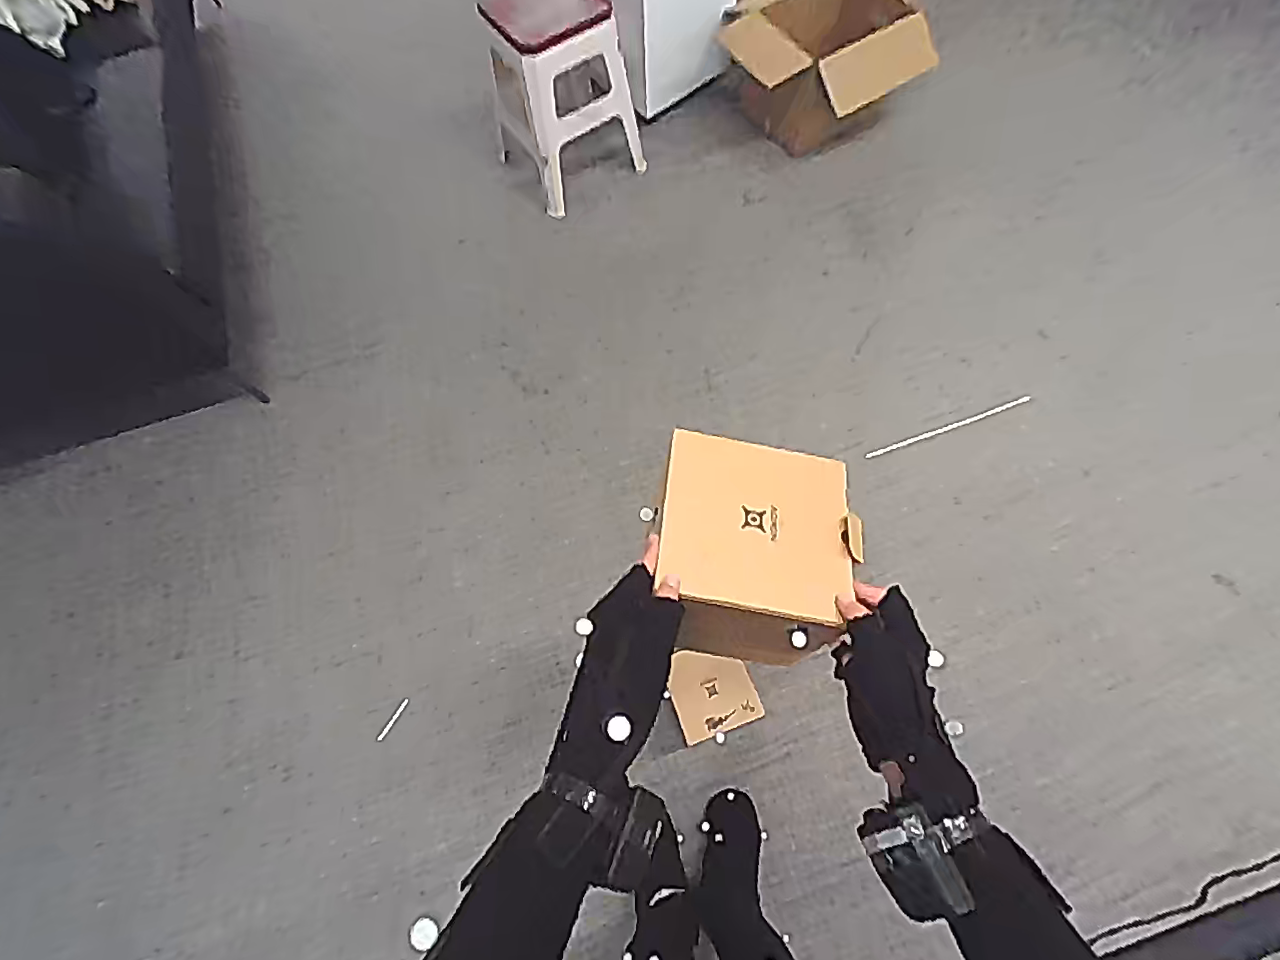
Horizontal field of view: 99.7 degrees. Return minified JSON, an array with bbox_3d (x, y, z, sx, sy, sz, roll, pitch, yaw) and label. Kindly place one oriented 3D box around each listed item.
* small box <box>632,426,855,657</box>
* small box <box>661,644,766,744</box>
[{"bbox_3d":[0.093,0.071,0.550,0.179,0.176,0.168,11,59,-3],"label":"small box"},{"bbox_3d":[0.149,0.449,1.164,0.168,0.176,0.179,-19,67,-5],"label":"small box"}]
